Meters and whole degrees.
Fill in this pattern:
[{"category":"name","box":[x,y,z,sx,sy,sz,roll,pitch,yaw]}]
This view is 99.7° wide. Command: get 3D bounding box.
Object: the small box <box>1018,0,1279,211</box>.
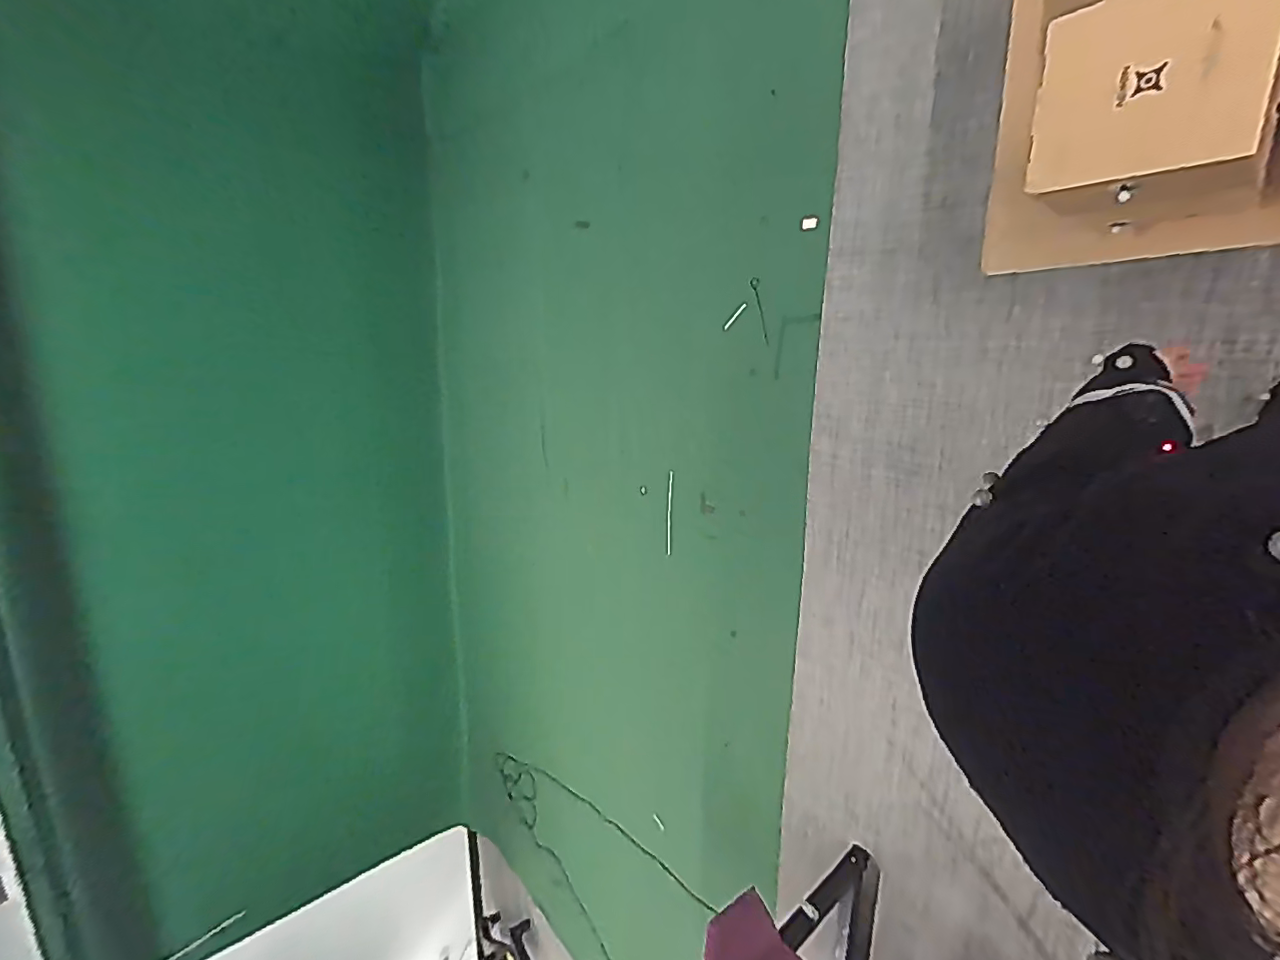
[{"category":"small box","box":[0.538,-0.394,0.567,0.179,0.176,0.168,17,112,47]}]
